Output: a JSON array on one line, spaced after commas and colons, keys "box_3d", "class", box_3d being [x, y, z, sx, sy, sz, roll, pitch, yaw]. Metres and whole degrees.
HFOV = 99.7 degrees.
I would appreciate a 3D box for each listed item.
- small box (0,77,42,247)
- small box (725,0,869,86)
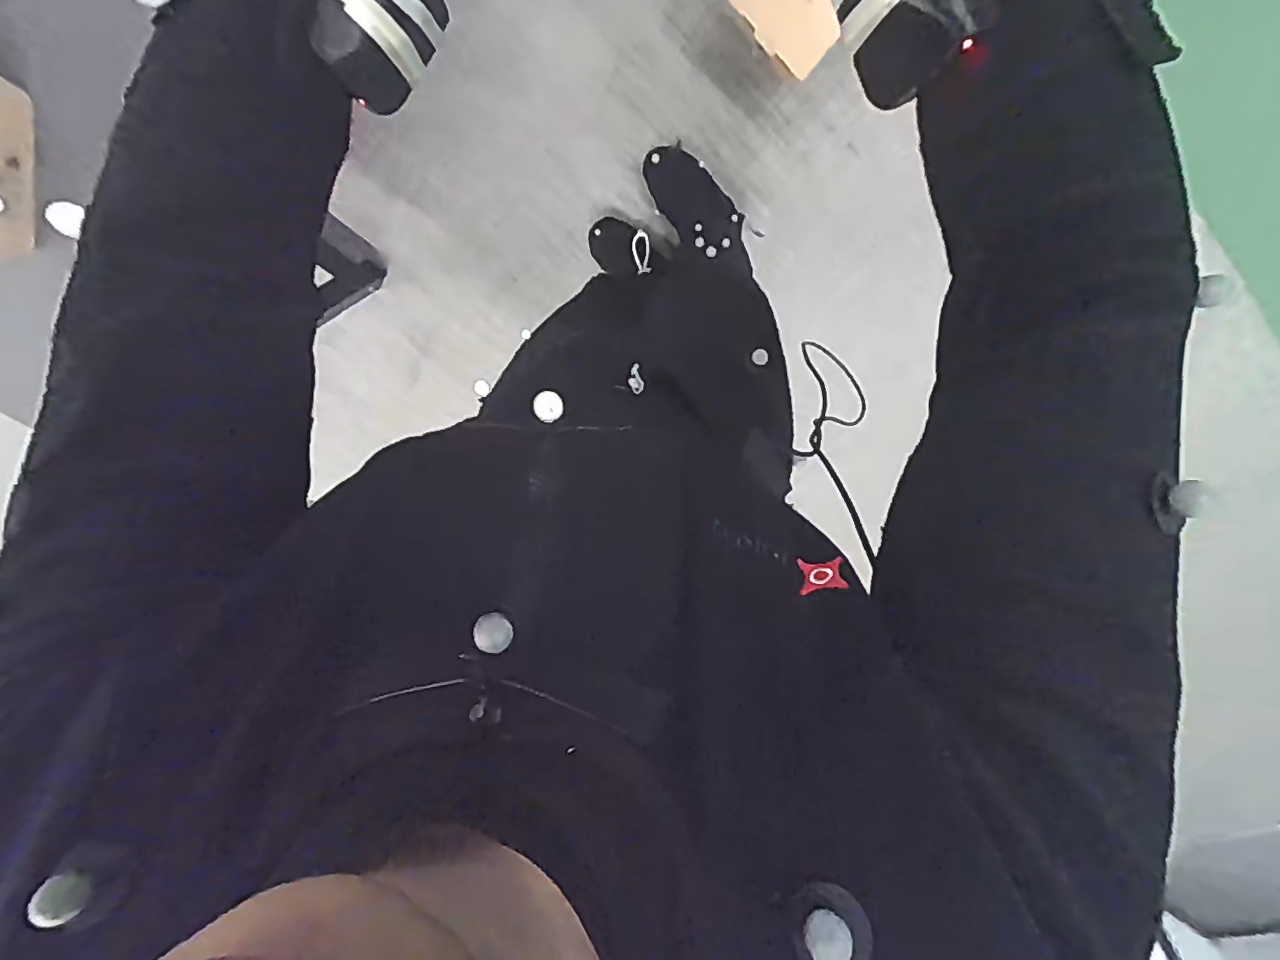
[{"box_3d": [-0.653, -0.284, 0.428, 0.179, 0.176, 0.168, 33, 124, -17], "class": "small box"}, {"box_3d": [0.255, -0.768, 0.858, 0.168, 0.176, 0.179, 36, 123, -17], "class": "small box"}]
